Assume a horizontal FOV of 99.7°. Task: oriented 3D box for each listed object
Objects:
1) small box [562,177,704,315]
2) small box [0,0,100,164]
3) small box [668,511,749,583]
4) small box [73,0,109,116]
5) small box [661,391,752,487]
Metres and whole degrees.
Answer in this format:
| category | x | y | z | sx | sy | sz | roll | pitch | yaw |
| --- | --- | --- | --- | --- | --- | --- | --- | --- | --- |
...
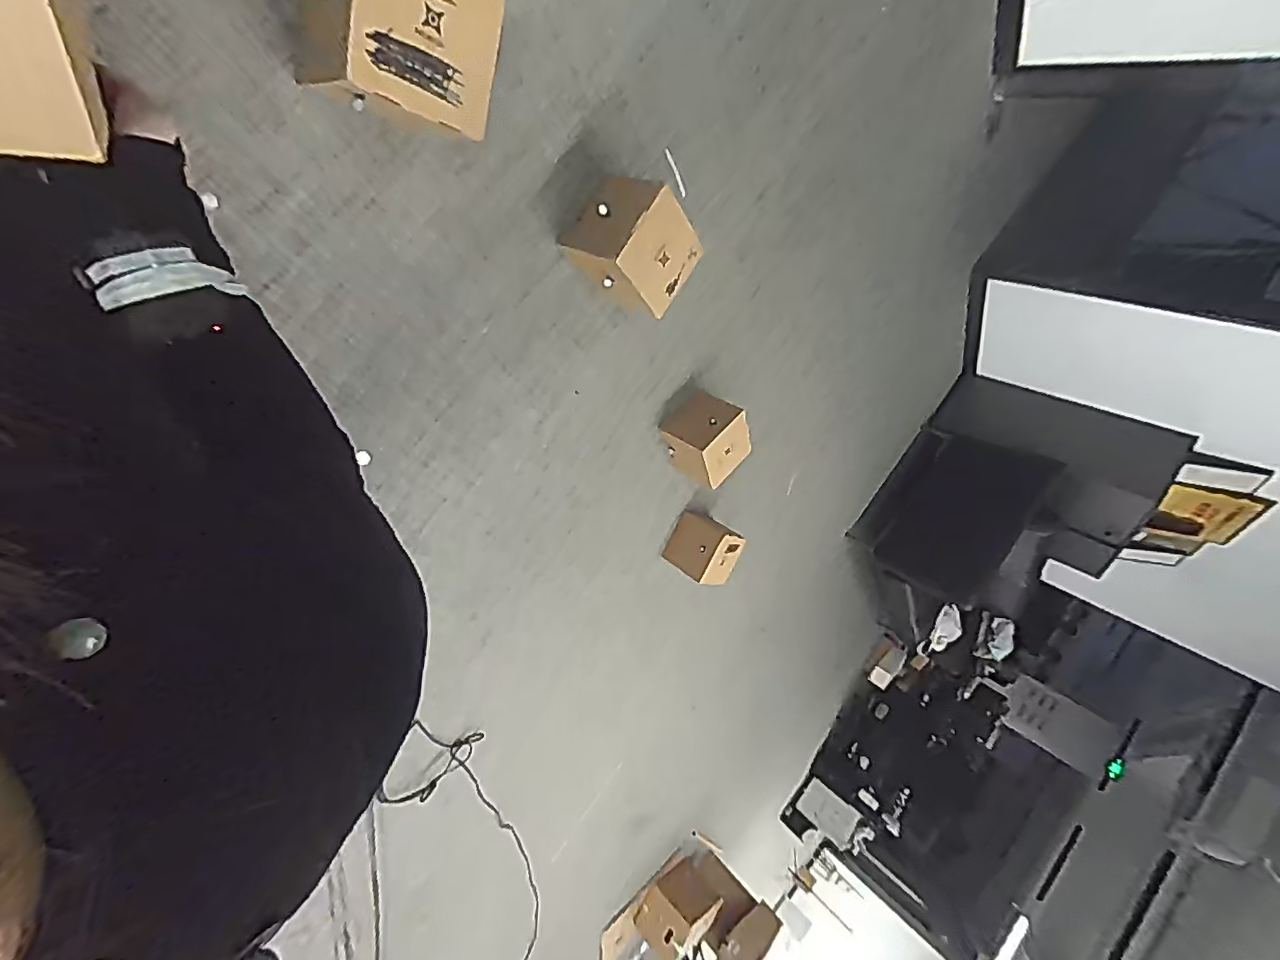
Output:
| category | x | y | z | sx | sy | sz | roll | pitch | yaw |
| --- | --- | --- | --- | --- | --- | --- | --- | --- | --- |
| small box | -0.015 | -0.447 | 1.032 | 0.168 | 0.176 | 0.179 | -57 | 143 | -2 |
| small box | -0.358 | -0.250 | 0.219 | 0.168 | 0.176 | 0.179 | -16 | 133 | -35 |
| small box | 0.219 | 0.216 | 1.764 | 0.168 | 0.176 | 0.179 | 17 | 102 | -52 |
| small box | -0.457 | -0.338 | 0.319 | 0.168 | 0.176 | 0.179 | -17 | 133 | -33 |
| small box | 0.185 | -0.120 | 1.493 | 0.179 | 0.176 | 0.168 | -45 | 141 | -18 |
